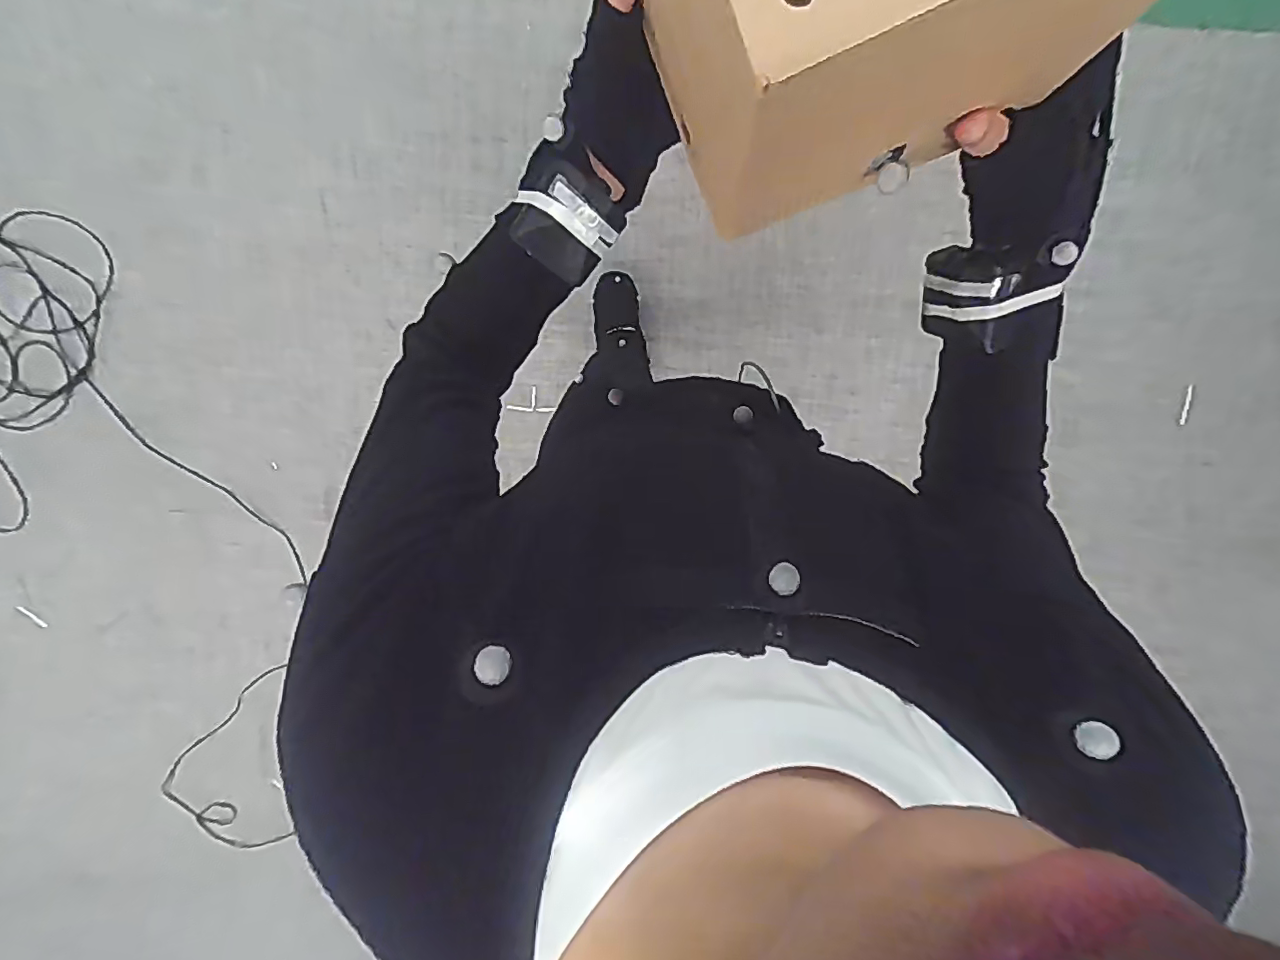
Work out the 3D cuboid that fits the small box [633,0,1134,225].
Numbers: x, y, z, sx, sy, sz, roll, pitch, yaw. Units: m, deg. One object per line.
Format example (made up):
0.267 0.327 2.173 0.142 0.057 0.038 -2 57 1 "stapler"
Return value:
0.092 -0.238 0.223 0.179 0.176 0.168 -20 96 6 "small box"
